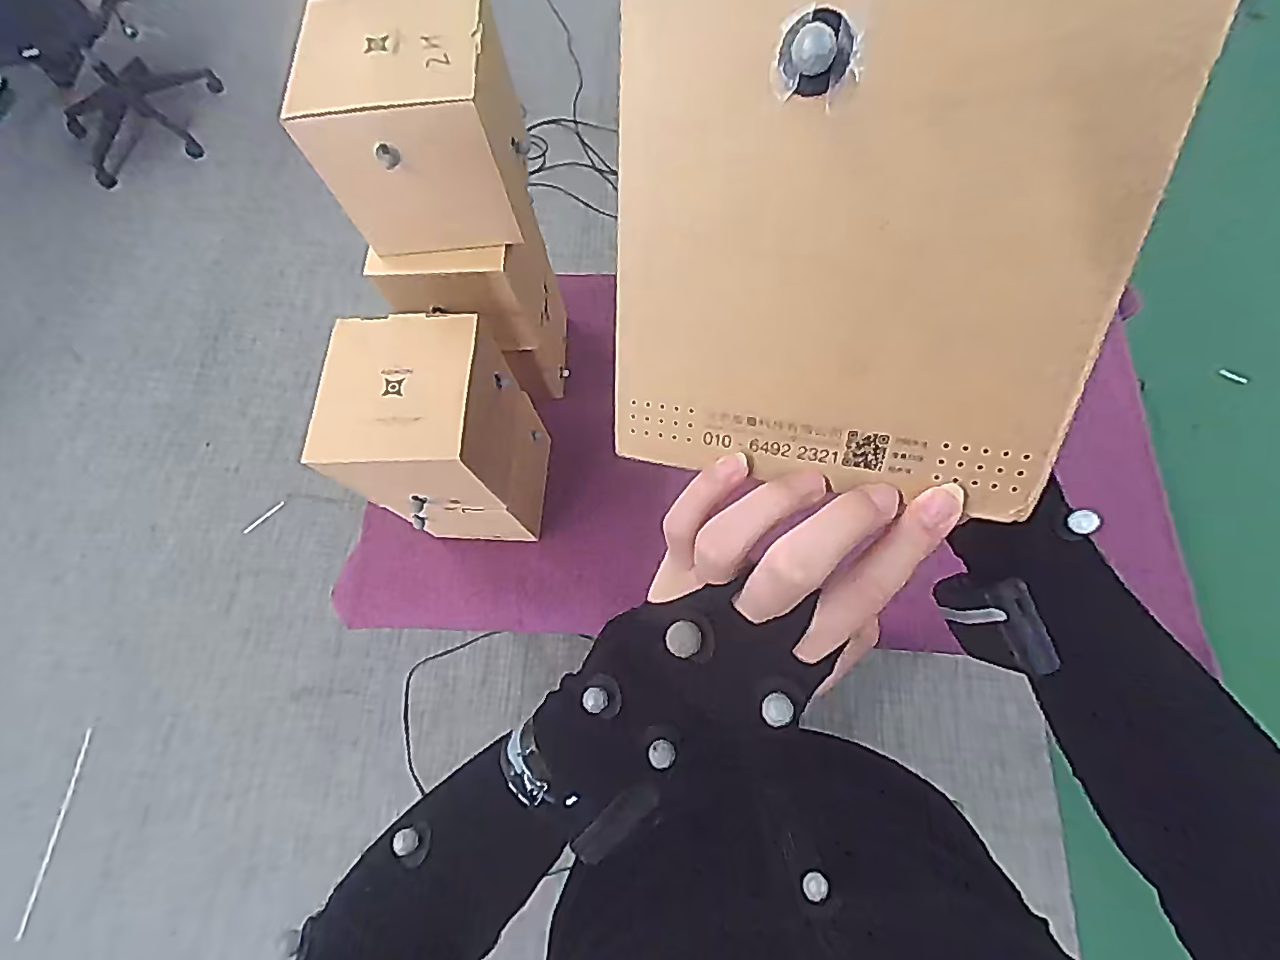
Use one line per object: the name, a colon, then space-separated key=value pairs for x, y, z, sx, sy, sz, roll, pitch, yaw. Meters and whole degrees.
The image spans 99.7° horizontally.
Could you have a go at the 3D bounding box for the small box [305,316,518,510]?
small box: x=-0.251 y=-0.073 z=0.644 sx=0.168 sy=0.176 sz=0.179 roll=0 pitch=70 yaw=4

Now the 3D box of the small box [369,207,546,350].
small box: x=-0.226 y=-0.286 z=0.719 sx=0.168 sy=0.176 sz=0.179 roll=-1 pitch=70 yaw=3

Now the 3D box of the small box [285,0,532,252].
small box: x=-0.224 y=-0.365 z=0.572 sx=0.179 sy=0.176 sz=0.168 roll=-4 pitch=71 yaw=2

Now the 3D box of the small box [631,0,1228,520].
small box: x=0.097 y=-0.103 z=0.260 sx=0.168 sy=0.179 sz=0.176 roll=11 pitch=116 yaw=17
